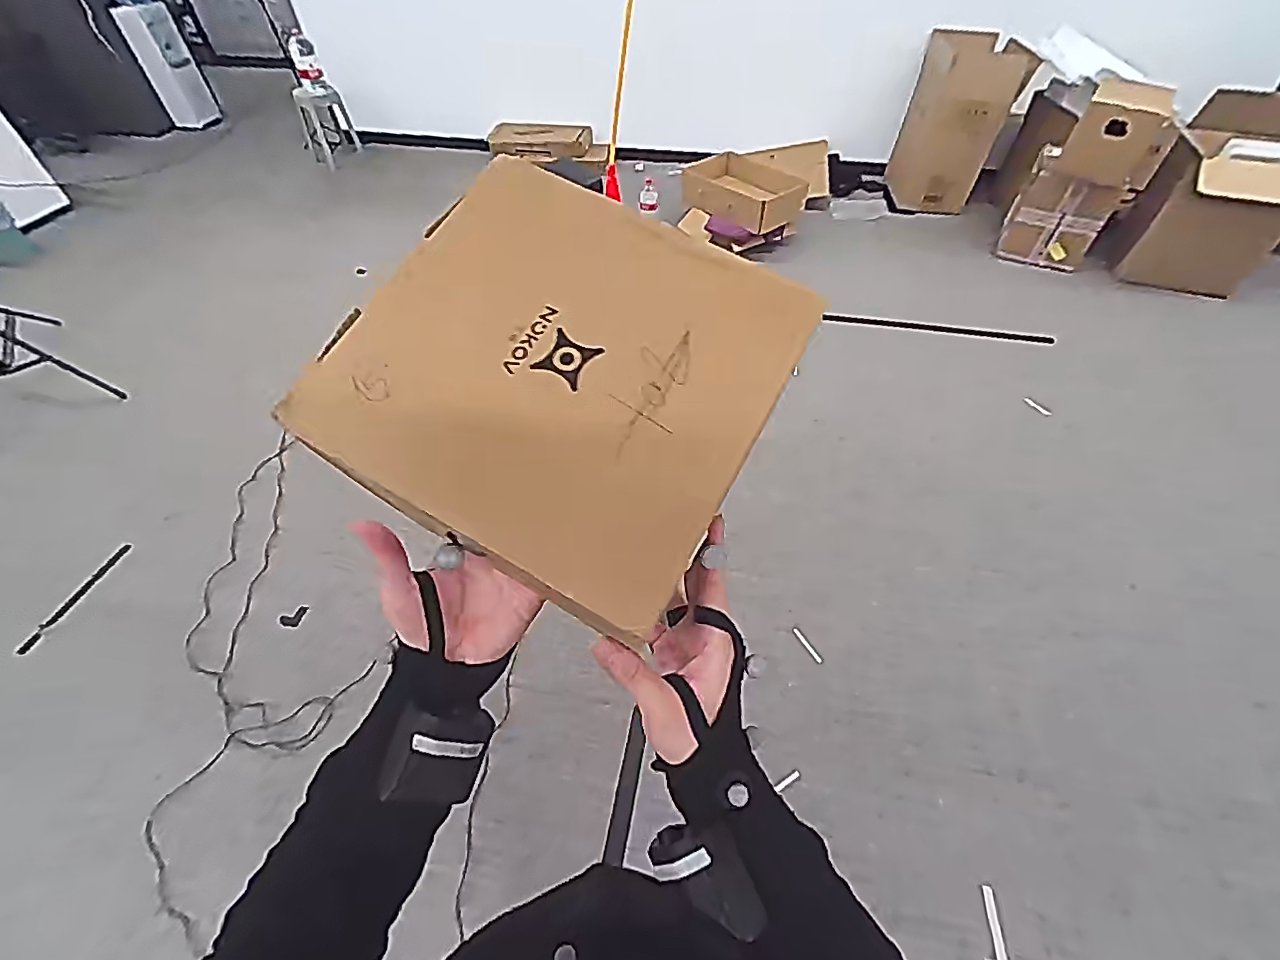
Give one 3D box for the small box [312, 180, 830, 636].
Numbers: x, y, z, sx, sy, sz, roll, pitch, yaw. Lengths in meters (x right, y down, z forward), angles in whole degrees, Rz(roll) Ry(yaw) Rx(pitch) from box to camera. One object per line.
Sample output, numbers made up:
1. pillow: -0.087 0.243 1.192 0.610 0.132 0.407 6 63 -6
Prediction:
1. small box: -0.028 -0.021 0.314 0.179 0.176 0.168 28 73 7
